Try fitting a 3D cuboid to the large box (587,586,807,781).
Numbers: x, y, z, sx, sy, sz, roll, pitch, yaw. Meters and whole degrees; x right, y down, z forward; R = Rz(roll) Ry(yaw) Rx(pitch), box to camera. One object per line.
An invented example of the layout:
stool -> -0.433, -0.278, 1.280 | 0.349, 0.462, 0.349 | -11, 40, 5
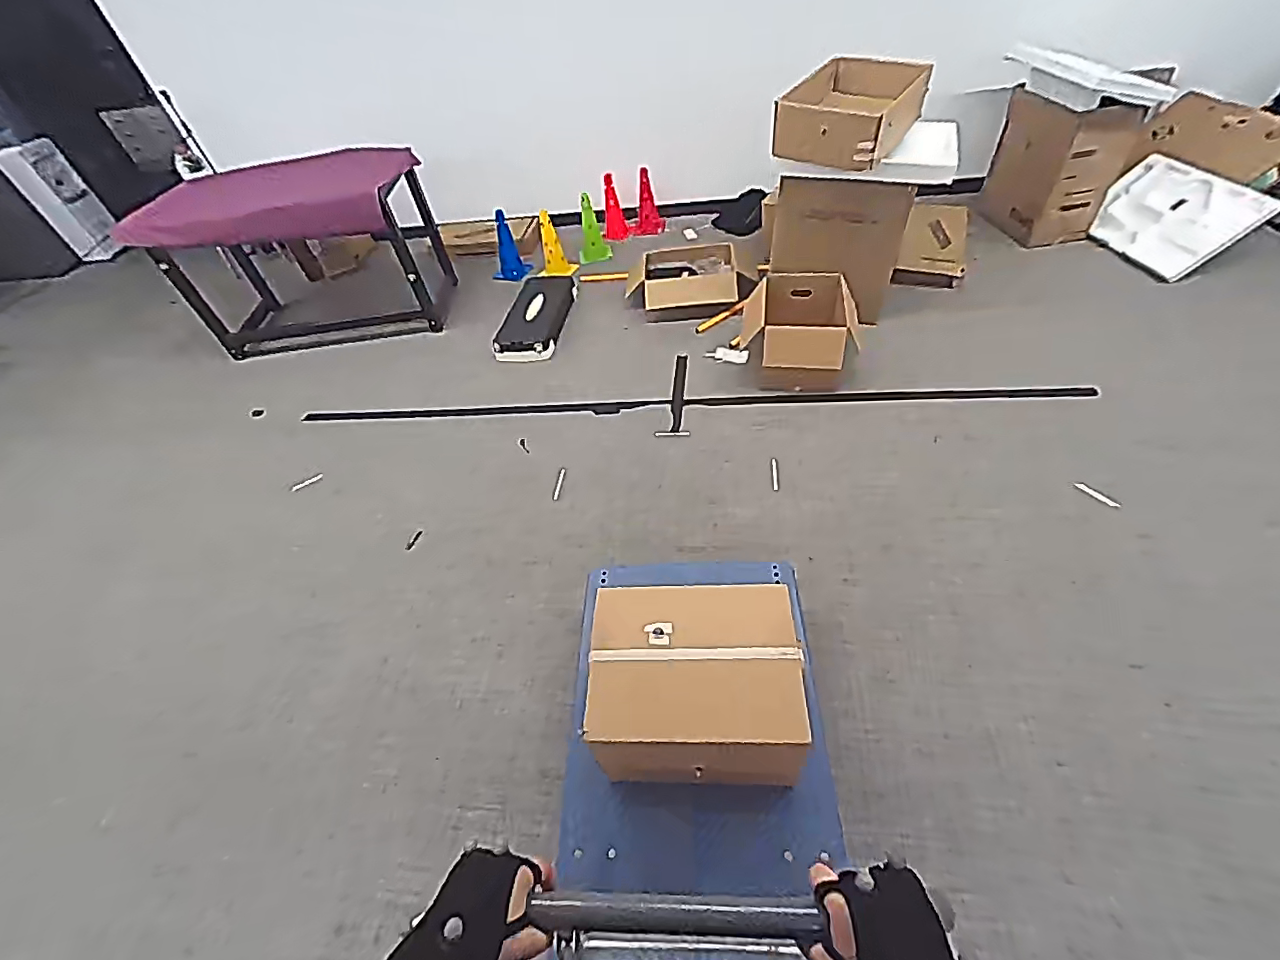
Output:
large box -> 0.123, 0.452, 1.178 | 0.408, 0.320, 0.320 | -4, 47, 7
